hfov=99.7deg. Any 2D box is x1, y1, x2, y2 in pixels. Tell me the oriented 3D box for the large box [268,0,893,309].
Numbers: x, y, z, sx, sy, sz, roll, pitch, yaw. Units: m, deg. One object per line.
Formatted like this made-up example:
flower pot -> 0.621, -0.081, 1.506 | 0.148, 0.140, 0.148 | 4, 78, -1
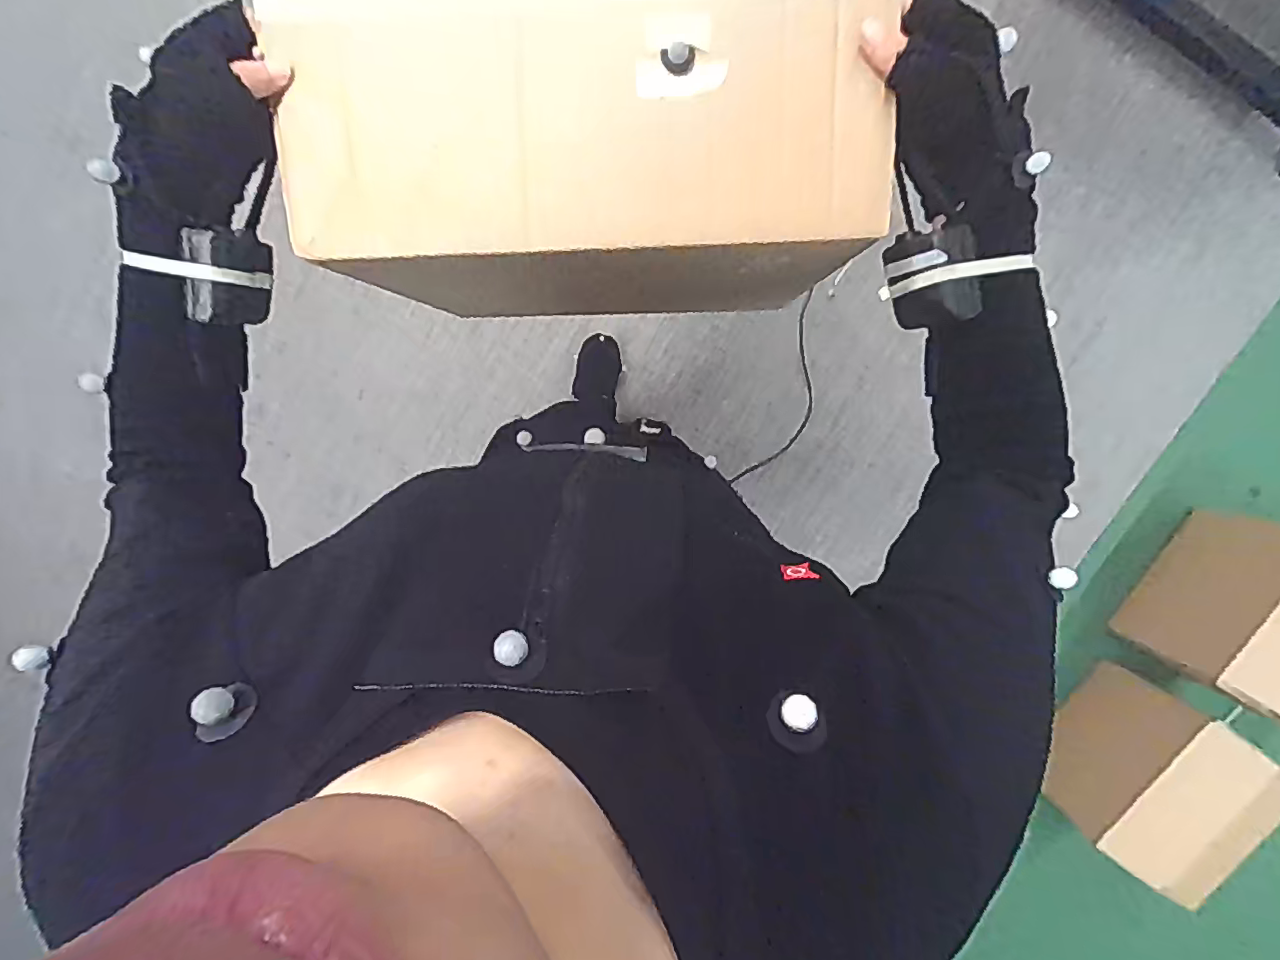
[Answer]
large box -> -0.038, -0.342, 0.486 | 0.408, 0.320, 0.320 | -2, 101, 1
